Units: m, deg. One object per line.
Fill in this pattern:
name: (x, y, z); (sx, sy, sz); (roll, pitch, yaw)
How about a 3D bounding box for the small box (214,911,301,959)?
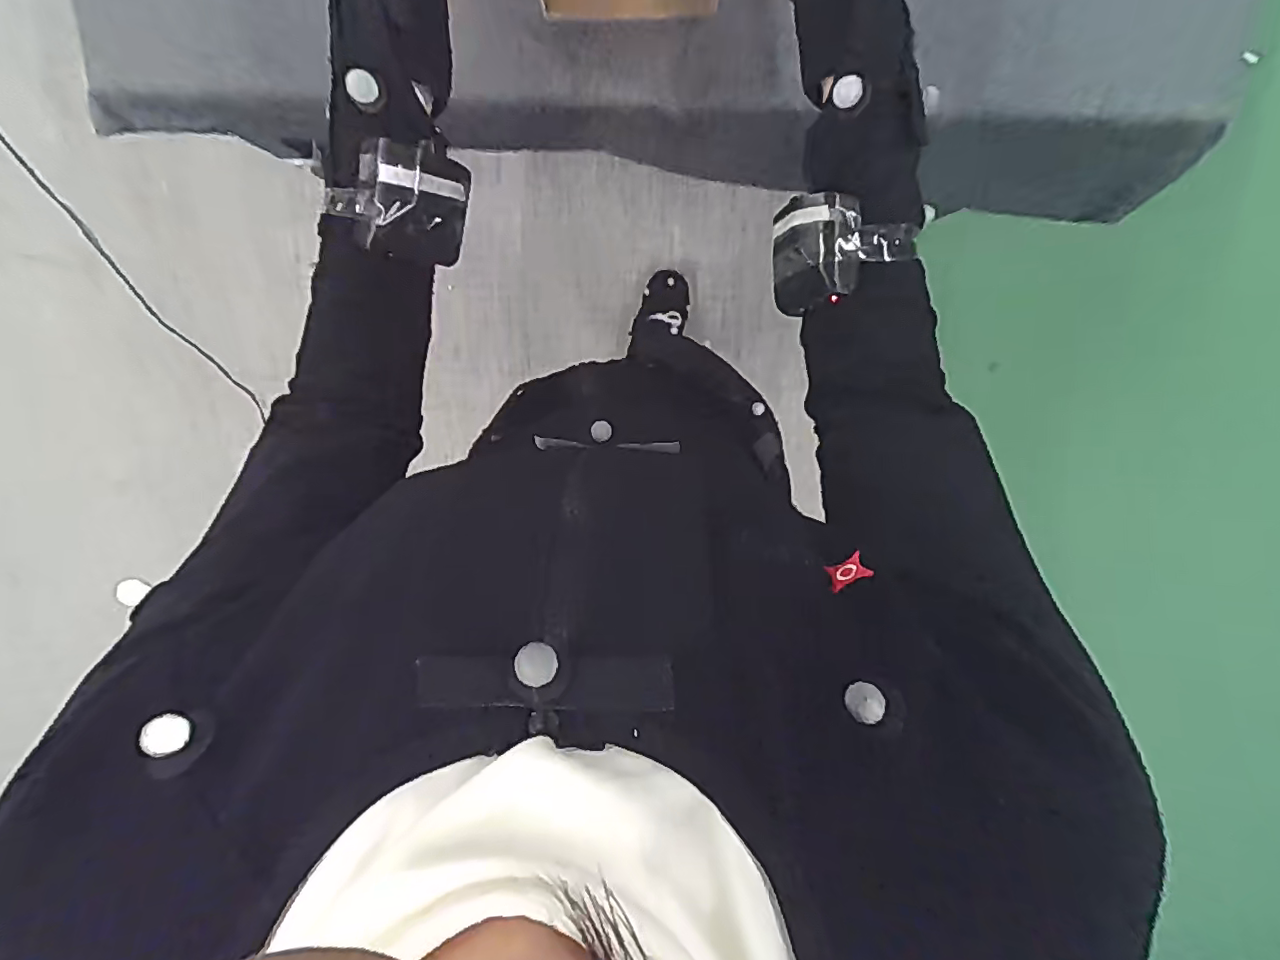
small box: (-1.003, 1.255, 1.363); (0.168, 0.176, 0.179); (33, 100, -8)
